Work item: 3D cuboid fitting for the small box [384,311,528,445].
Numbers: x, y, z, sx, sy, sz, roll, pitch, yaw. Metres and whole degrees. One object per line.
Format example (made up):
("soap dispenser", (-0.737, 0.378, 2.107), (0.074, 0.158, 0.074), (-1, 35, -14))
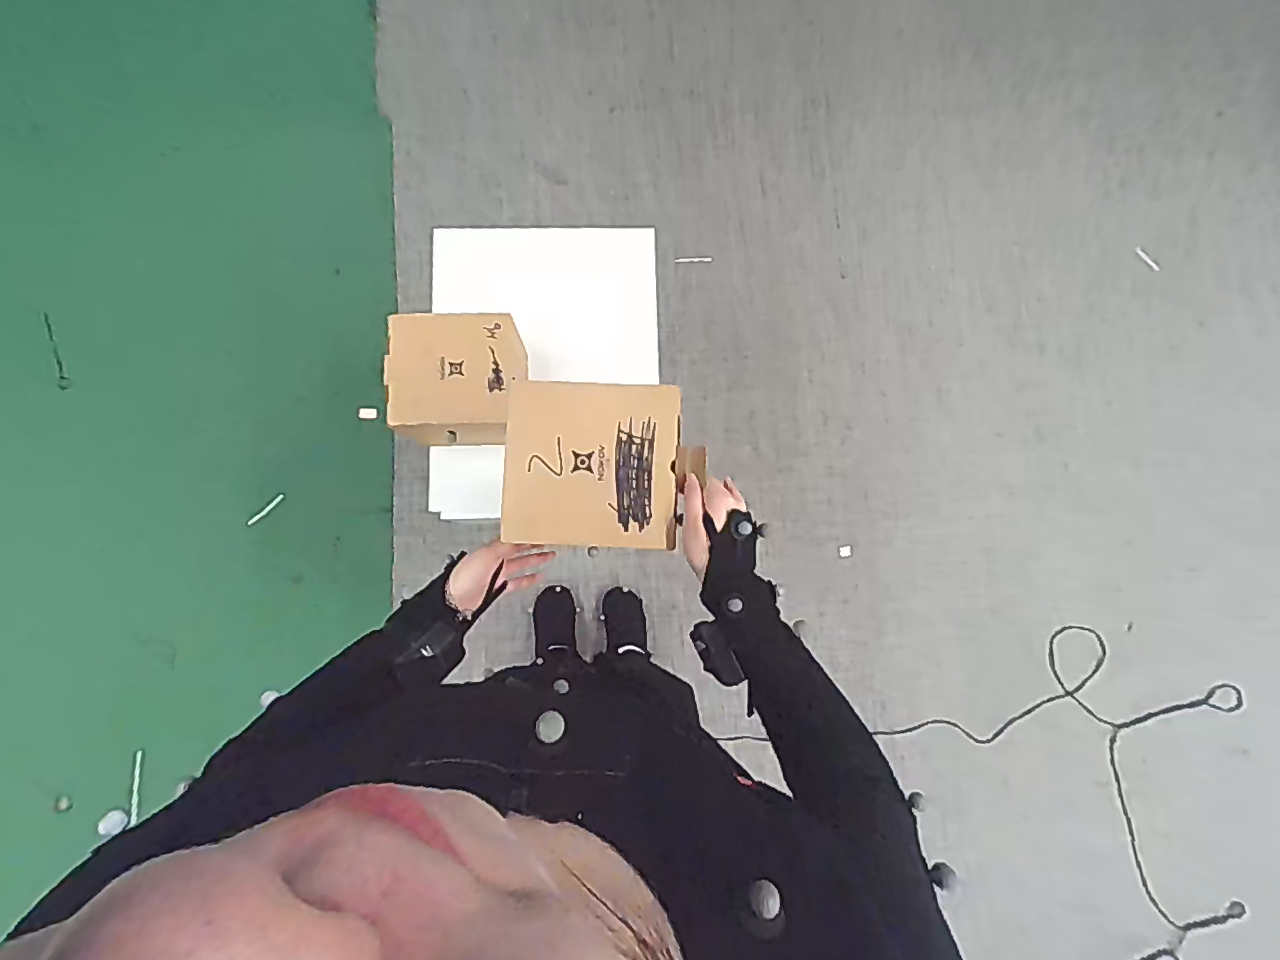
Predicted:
("small box", (-0.277, -0.151, 0.848), (0.179, 0.176, 0.168), (-2, 83, -4))
